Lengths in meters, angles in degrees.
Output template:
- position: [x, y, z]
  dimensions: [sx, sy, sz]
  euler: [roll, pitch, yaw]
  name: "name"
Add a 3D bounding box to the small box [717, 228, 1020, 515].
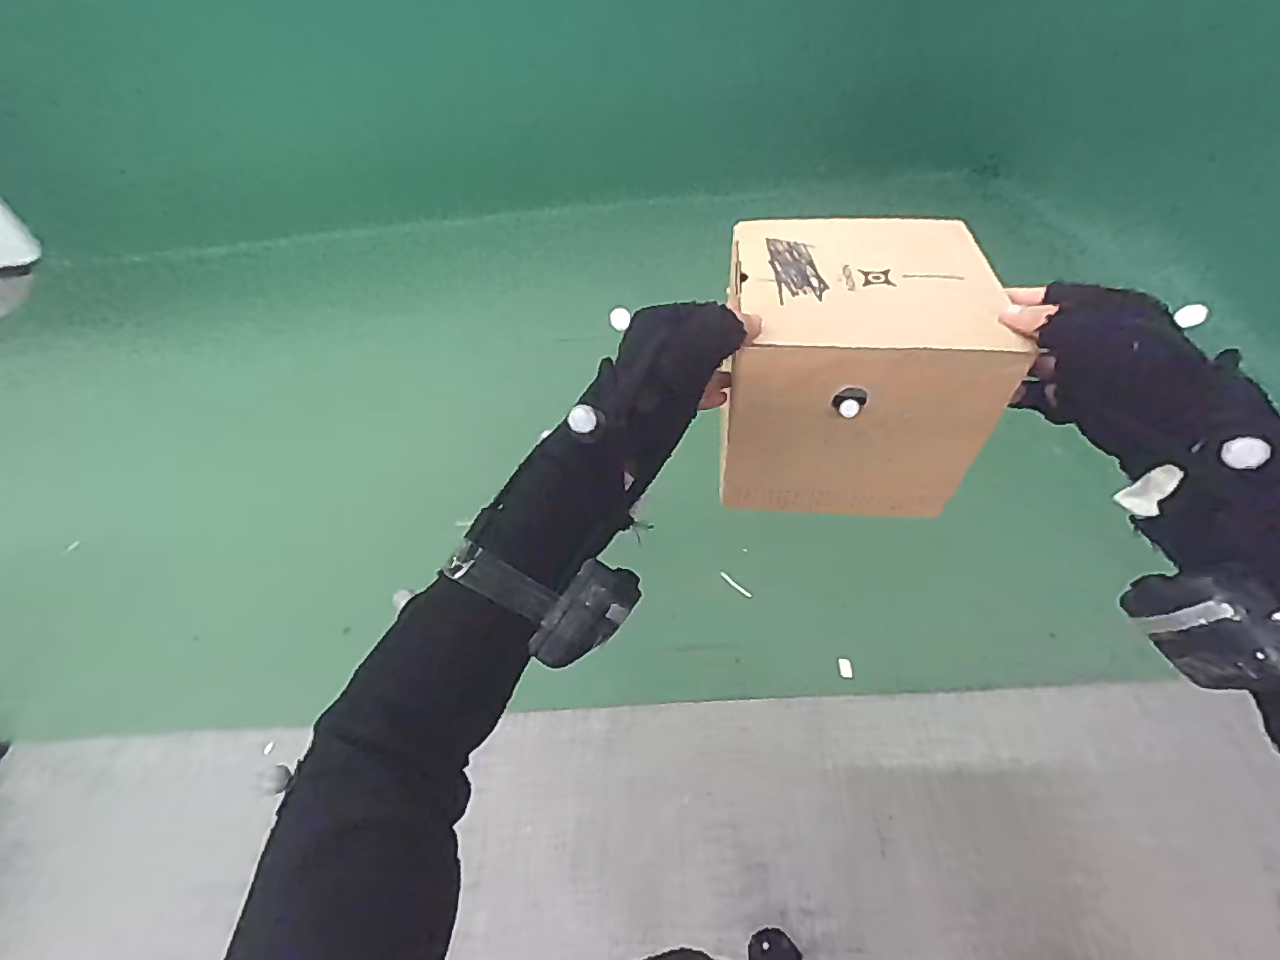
- position: [0.154, -0.085, 0.443]
  dimensions: [0.179, 0.176, 0.168]
  euler: [2, 50, 5]
  name: "small box"
